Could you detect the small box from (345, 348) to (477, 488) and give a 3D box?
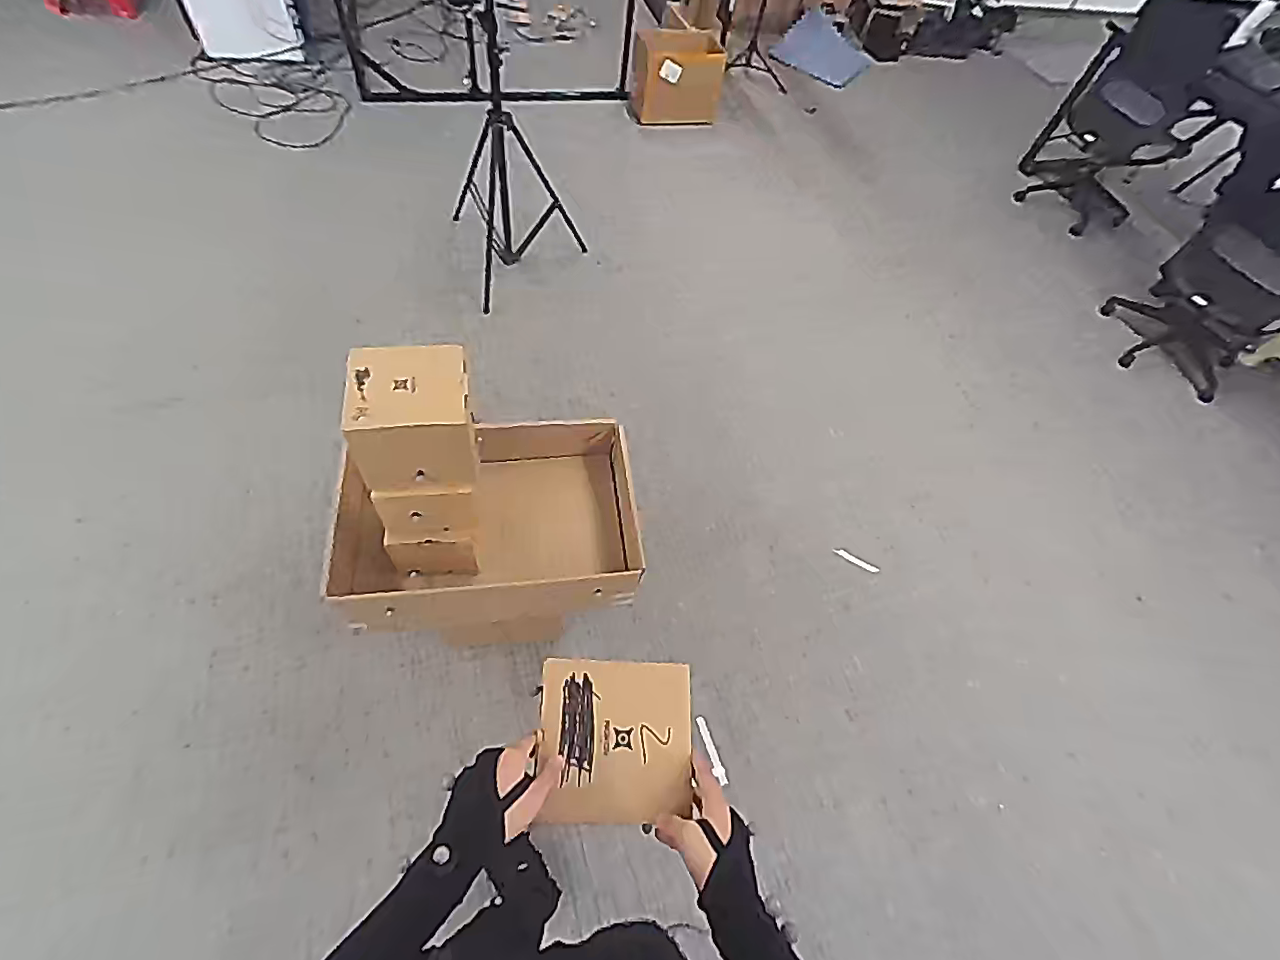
[{"bbox_3d":[-0.365,-0.100,0.898,0.179,0.176,0.168,-4,58,-14],"label":"small box"}]

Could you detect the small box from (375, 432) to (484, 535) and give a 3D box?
[{"bbox_3d":[-0.390,-0.005,1.029,0.168,0.176,0.179,-3,58,-13],"label":"small box"}]

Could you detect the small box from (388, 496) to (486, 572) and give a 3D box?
[{"bbox_3d":[-0.423,0.090,1.157,0.168,0.176,0.179,0,58,-11],"label":"small box"}]
